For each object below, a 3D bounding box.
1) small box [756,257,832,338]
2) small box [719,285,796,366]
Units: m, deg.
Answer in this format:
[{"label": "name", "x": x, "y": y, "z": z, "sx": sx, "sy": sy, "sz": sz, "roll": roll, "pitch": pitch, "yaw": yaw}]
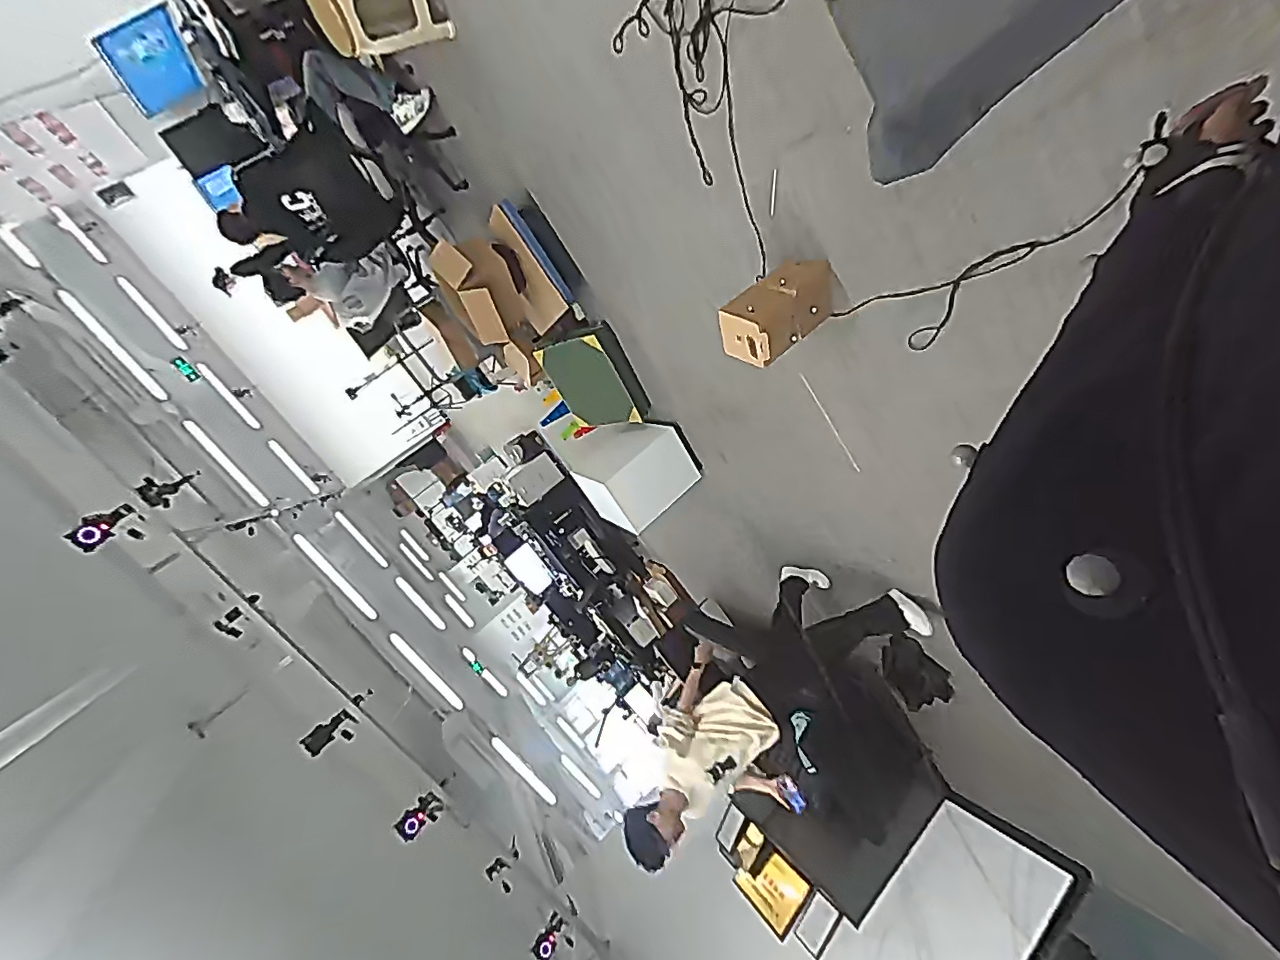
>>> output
[{"label": "small box", "x": 0.507, "y": -0.597, "z": 1.763, "sx": 0.168, "sy": 0.176, "sz": 0.179, "roll": 32, "pitch": 155, "yaw": 44}, {"label": "small box", "x": 0.382, "y": -0.498, "z": 1.723, "sx": 0.179, "sy": 0.176, "sz": 0.168, "roll": 36, "pitch": 157, "yaw": 40}]
